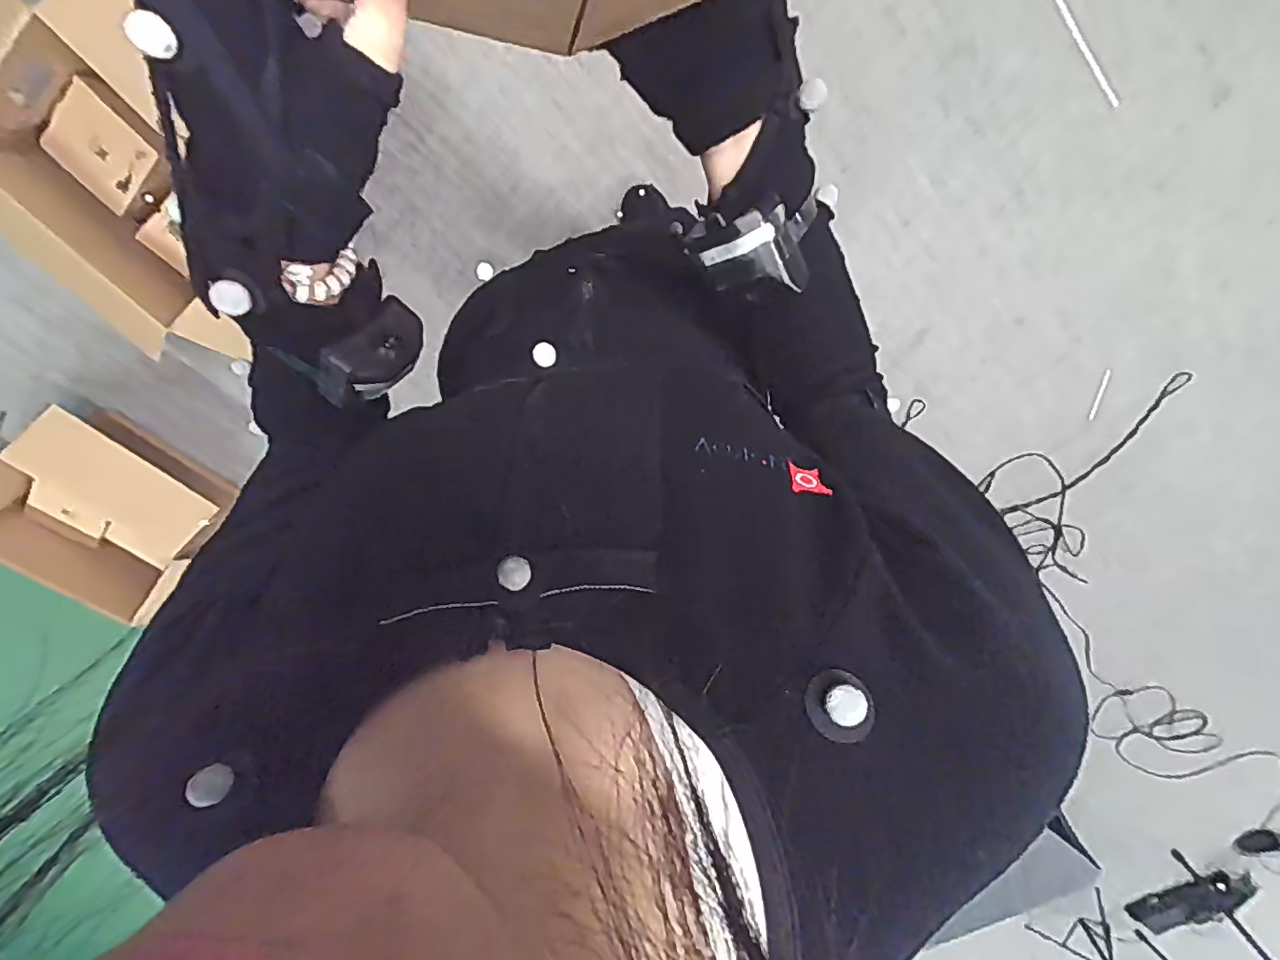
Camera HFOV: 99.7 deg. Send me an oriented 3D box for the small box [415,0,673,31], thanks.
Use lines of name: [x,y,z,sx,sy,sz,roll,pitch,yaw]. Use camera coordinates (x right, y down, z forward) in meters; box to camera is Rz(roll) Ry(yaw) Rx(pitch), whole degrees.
small box: [-0.037,-0.268,0.162,0.168,0.179,0.176,-24,121,-39]
